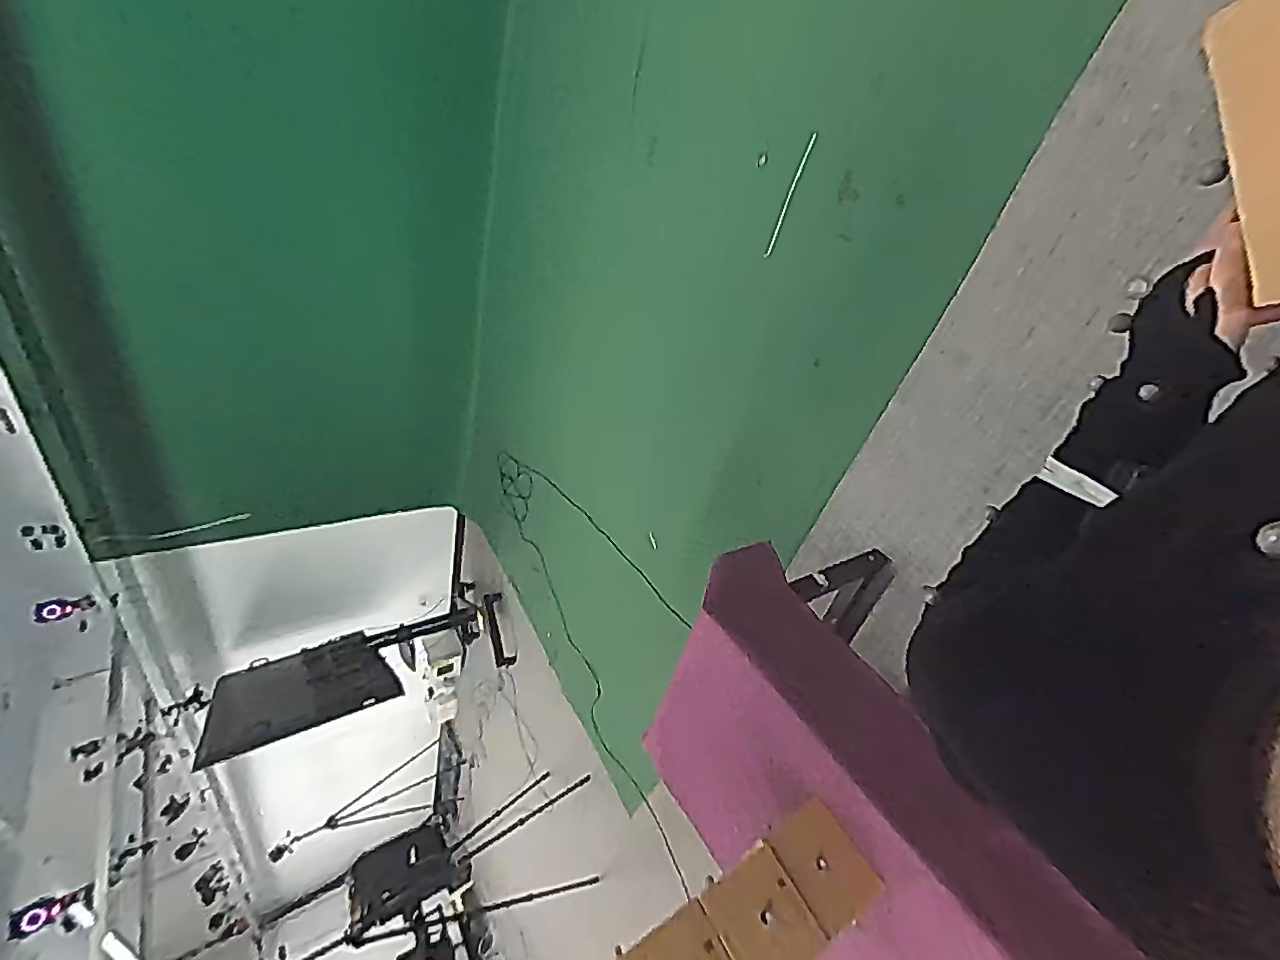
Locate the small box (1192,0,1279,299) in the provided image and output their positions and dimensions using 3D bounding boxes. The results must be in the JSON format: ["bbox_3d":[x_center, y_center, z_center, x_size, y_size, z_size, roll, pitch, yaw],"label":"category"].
[{"bbox_3d":[0.462,-0.219,0.311,0.168,0.176,0.179,-10,93,54],"label":"small box"}]

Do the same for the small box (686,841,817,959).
[{"bbox_3d":[0.174,0.767,0.930,0.168,0.176,0.179,51,136,34],"label":"small box"}]

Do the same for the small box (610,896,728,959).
[{"bbox_3d":[0.042,0.793,0.833,0.168,0.176,0.179,50,136,35],"label":"small box"}]
